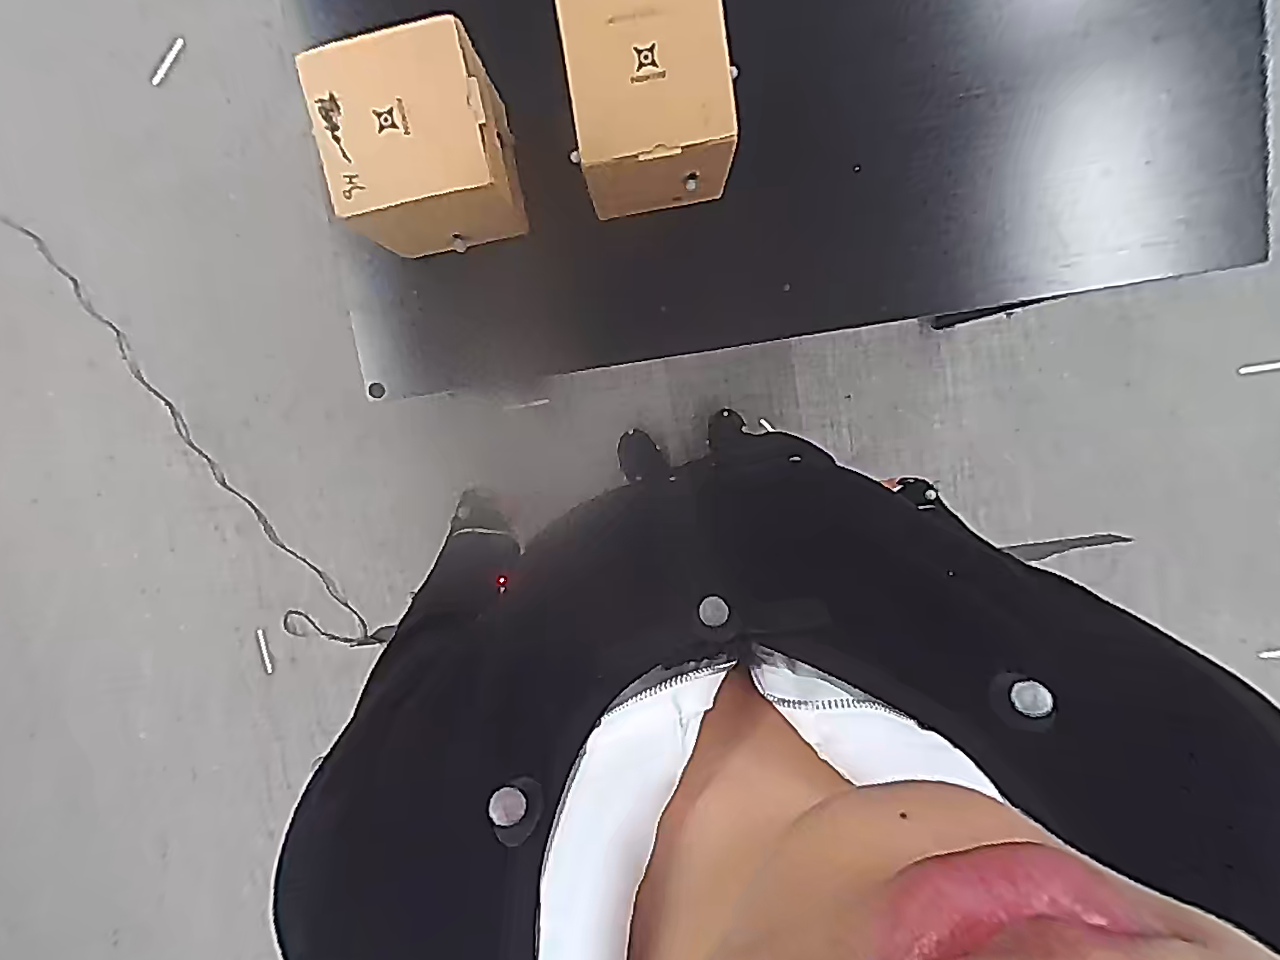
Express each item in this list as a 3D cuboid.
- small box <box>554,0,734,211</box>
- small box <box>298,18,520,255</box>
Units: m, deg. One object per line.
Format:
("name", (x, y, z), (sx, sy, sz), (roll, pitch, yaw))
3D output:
("small box", (0.007, -0.433, 0.627), (0.168, 0.176, 0.179), (-9, 97, 2))
("small box", (-0.250, -0.384, 0.638), (0.179, 0.176, 0.168), (-11, 97, 2))
